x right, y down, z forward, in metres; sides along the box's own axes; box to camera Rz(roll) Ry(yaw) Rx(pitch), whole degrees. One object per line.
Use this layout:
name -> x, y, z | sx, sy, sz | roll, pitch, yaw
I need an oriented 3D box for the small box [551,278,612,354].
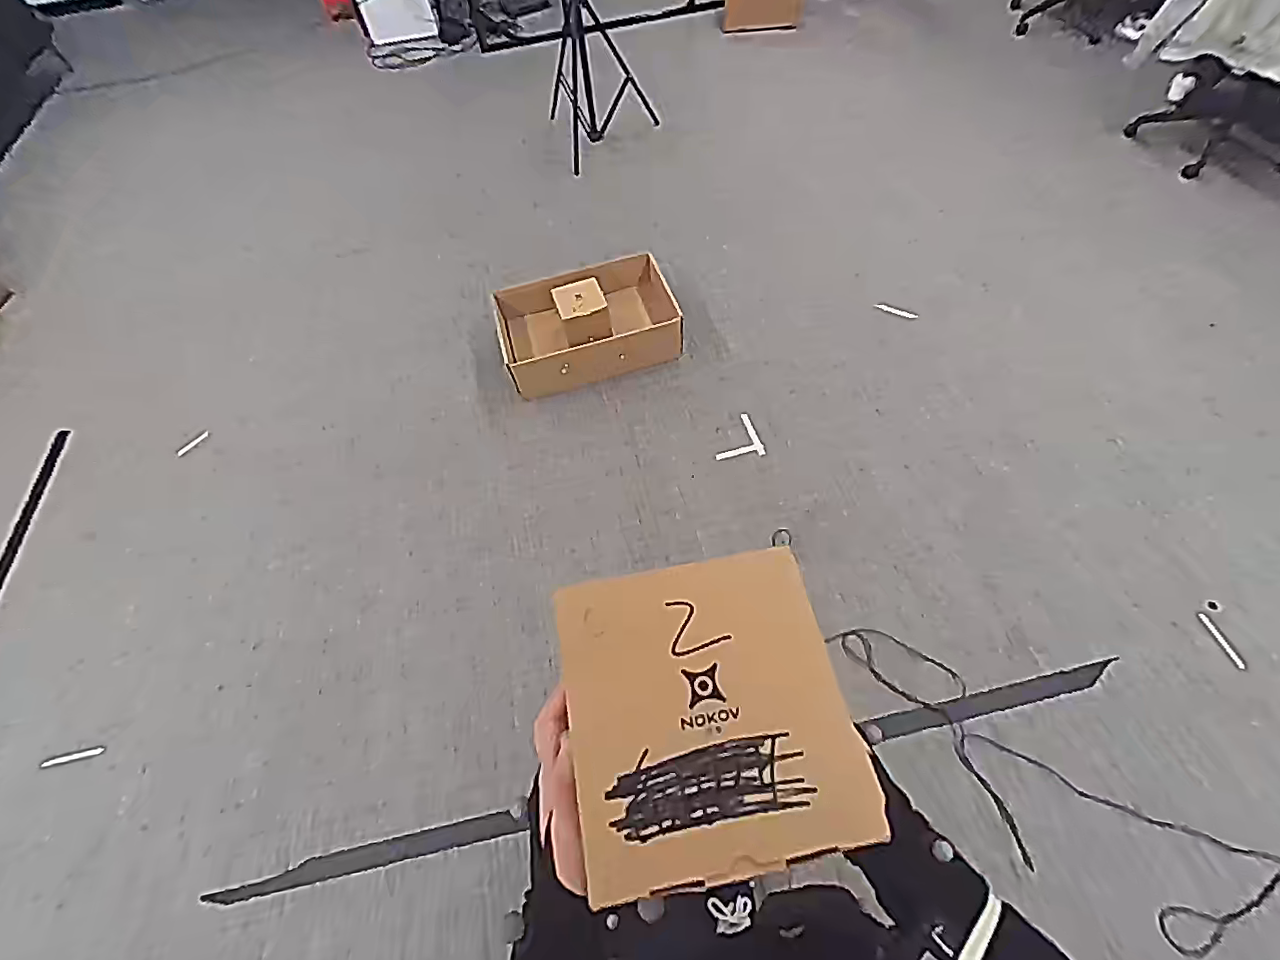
small box -> -0.209, -0.588, 1.947 | 0.168, 0.176, 0.179 | -18, 59, -6
